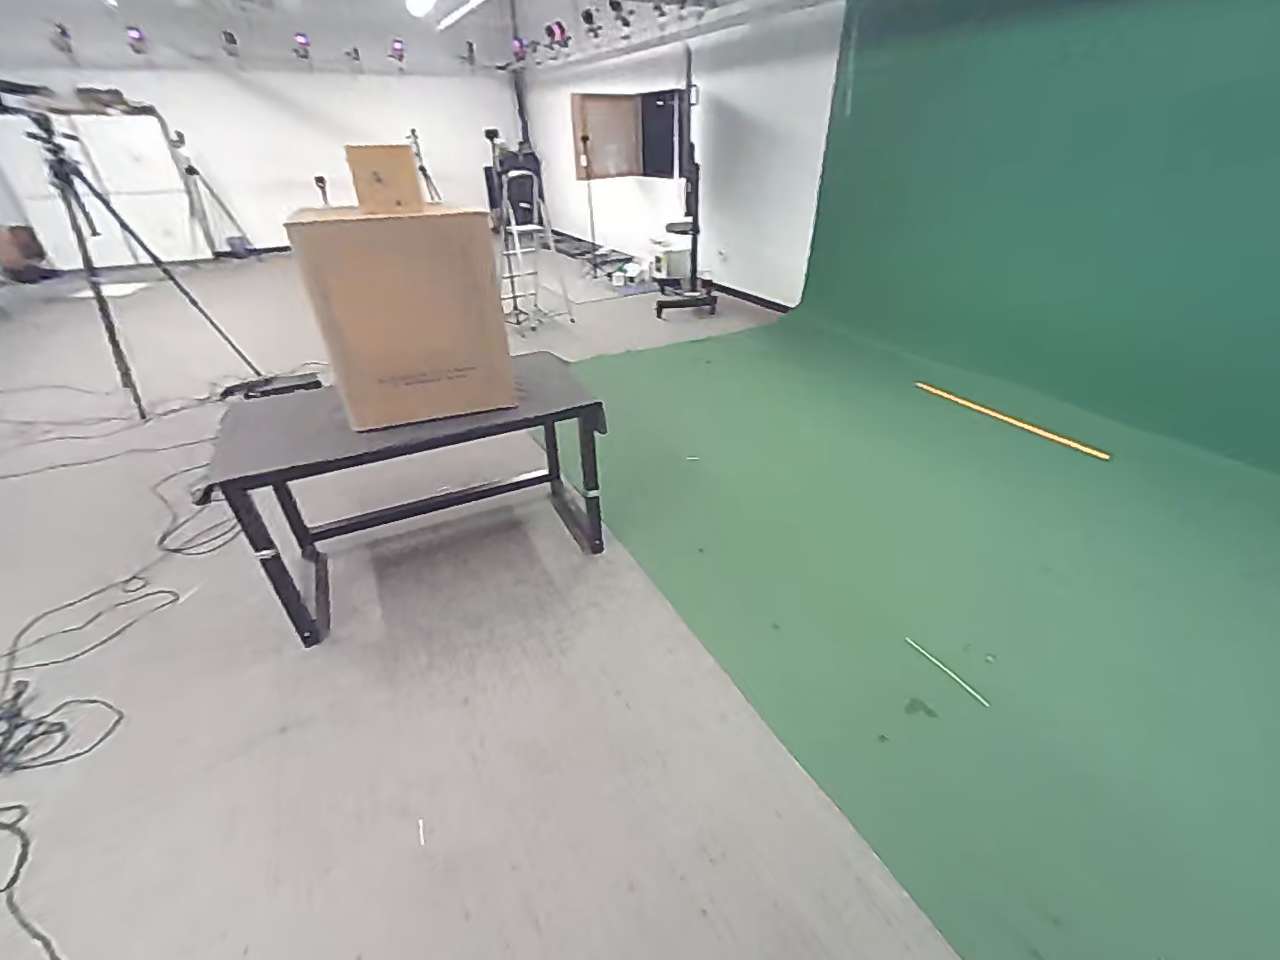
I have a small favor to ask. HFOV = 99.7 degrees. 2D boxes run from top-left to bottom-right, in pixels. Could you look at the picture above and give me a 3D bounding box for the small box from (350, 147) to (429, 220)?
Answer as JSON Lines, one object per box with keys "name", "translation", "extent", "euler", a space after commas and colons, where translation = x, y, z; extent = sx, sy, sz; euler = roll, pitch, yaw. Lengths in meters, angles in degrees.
{"name": "small box", "translation": [-0.707, -0.846, 1.545], "extent": [0.168, 0.176, 0.179], "euler": [-10, 35, -14]}
